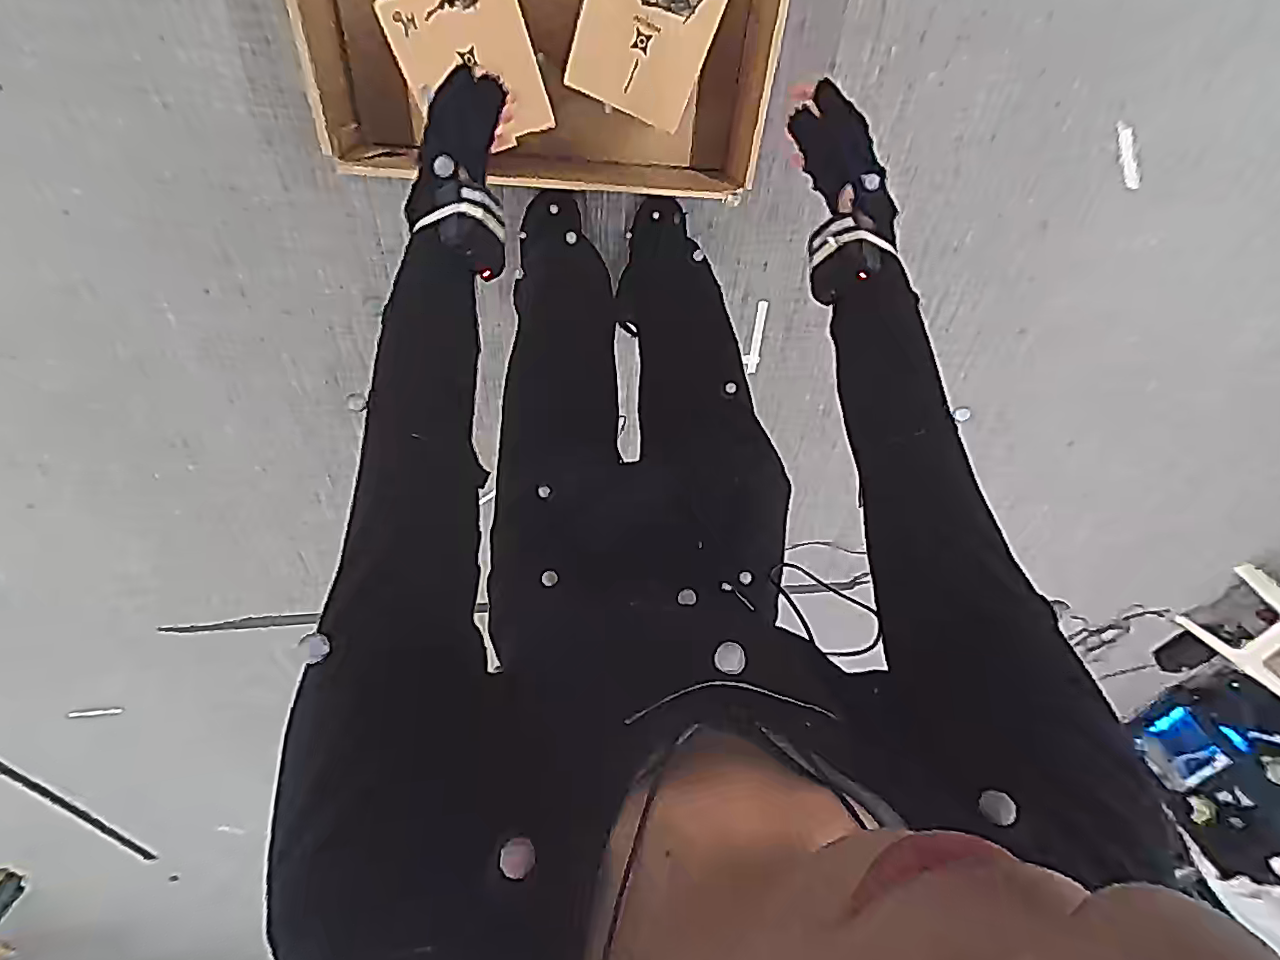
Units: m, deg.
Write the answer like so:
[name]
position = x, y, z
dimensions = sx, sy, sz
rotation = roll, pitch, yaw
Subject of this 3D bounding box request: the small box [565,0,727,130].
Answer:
[small box]
position = -0.001, -0.615, 0.730
dimensions = 0.168, 0.176, 0.179
rotation = 14, 127, -20
